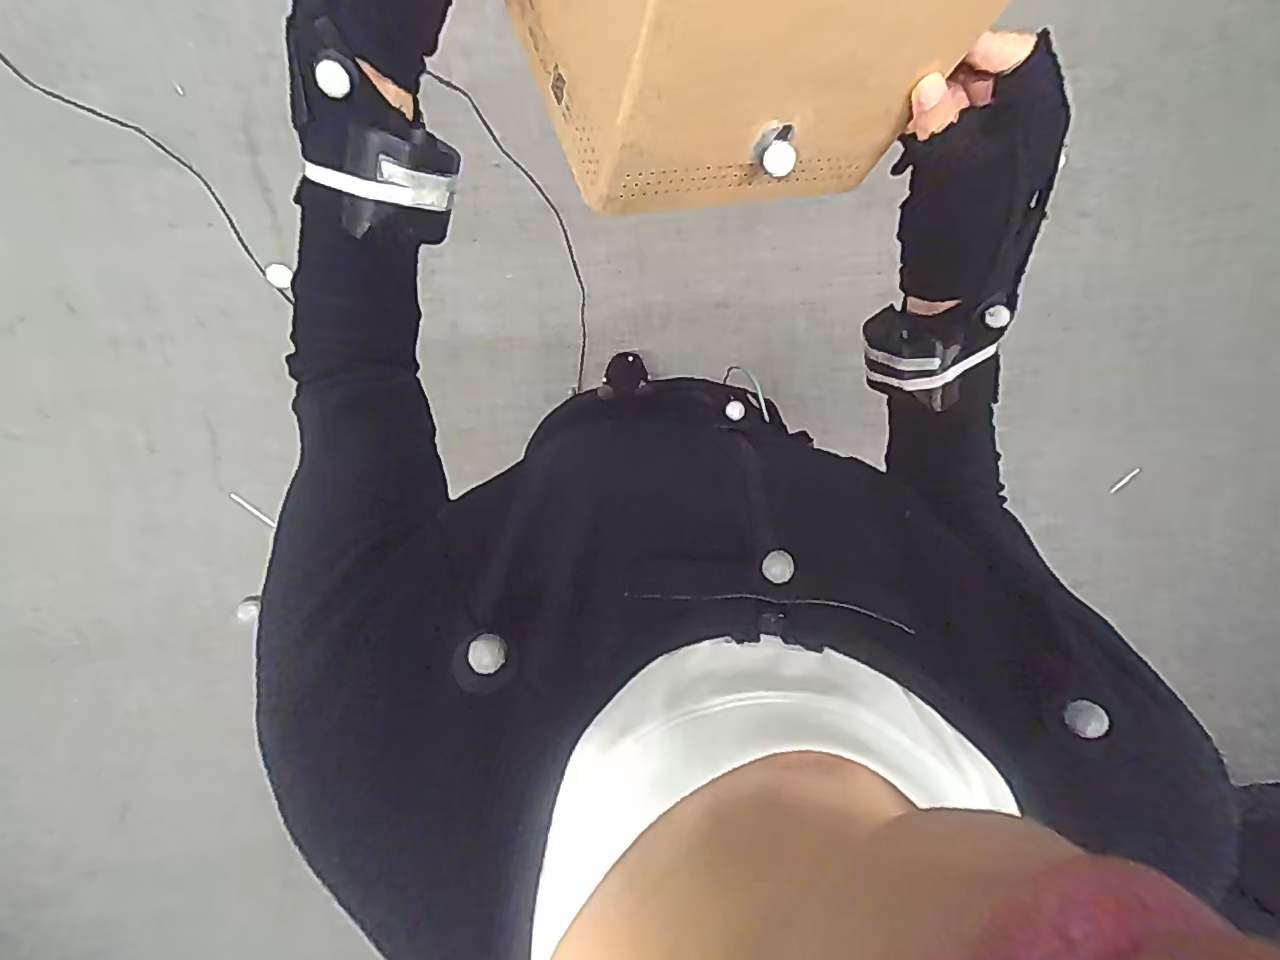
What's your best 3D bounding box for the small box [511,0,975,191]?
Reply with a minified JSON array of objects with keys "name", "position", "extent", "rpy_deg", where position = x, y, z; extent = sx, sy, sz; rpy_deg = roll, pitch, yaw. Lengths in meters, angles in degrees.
[{"name":"small box","position":[0.045,-0.263,0.246],"extent":[0.179,0.176,0.168],"rpy_deg":[-16,79,-20]}]
